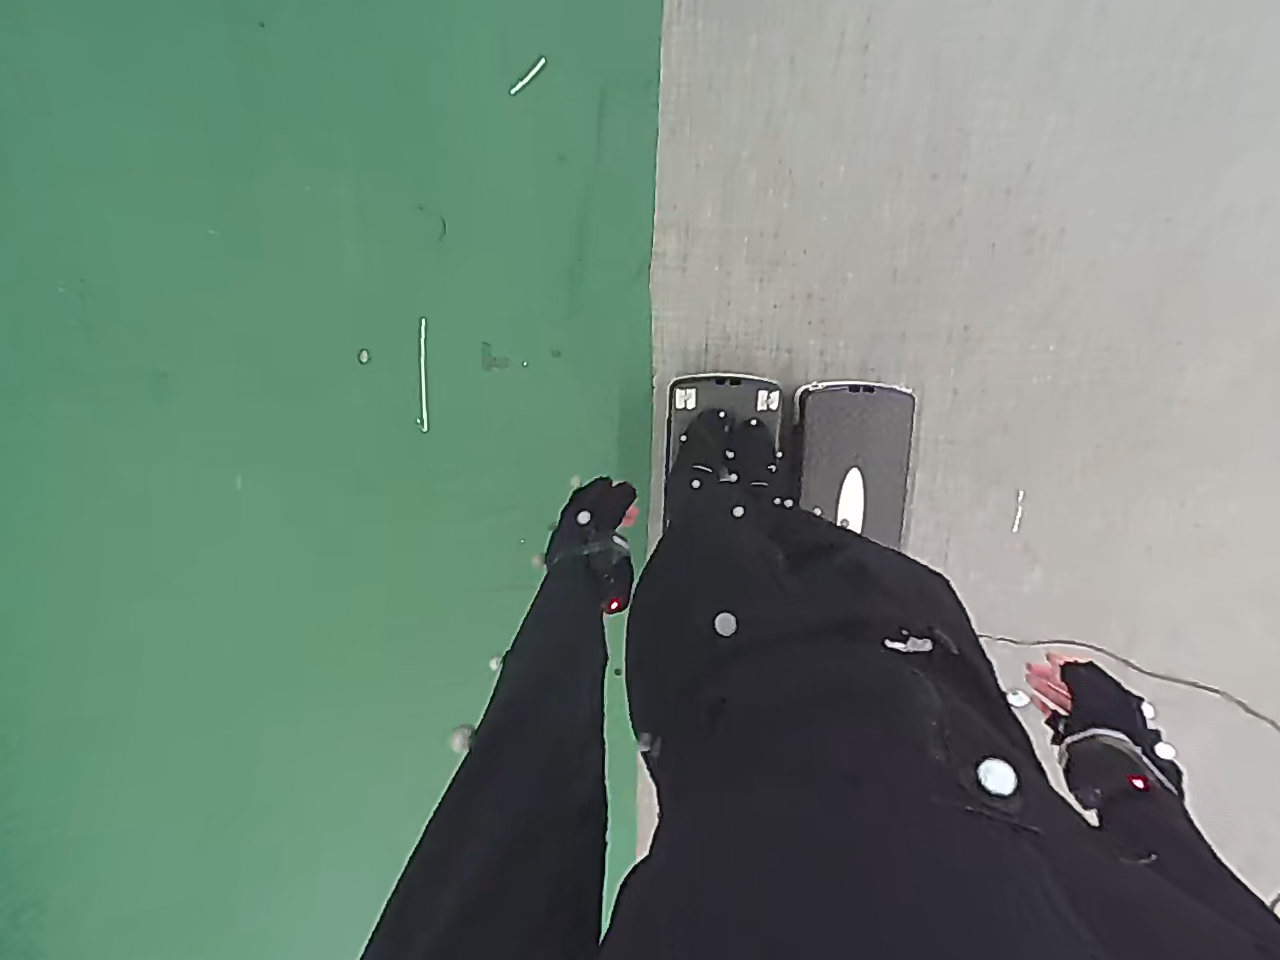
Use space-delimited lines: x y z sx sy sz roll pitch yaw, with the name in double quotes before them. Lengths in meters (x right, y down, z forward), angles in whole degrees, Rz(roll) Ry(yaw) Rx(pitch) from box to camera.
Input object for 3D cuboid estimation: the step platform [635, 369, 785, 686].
"step platform" 0.146 0.101 1.219 0.286 0.204 0.684 3 100 4
